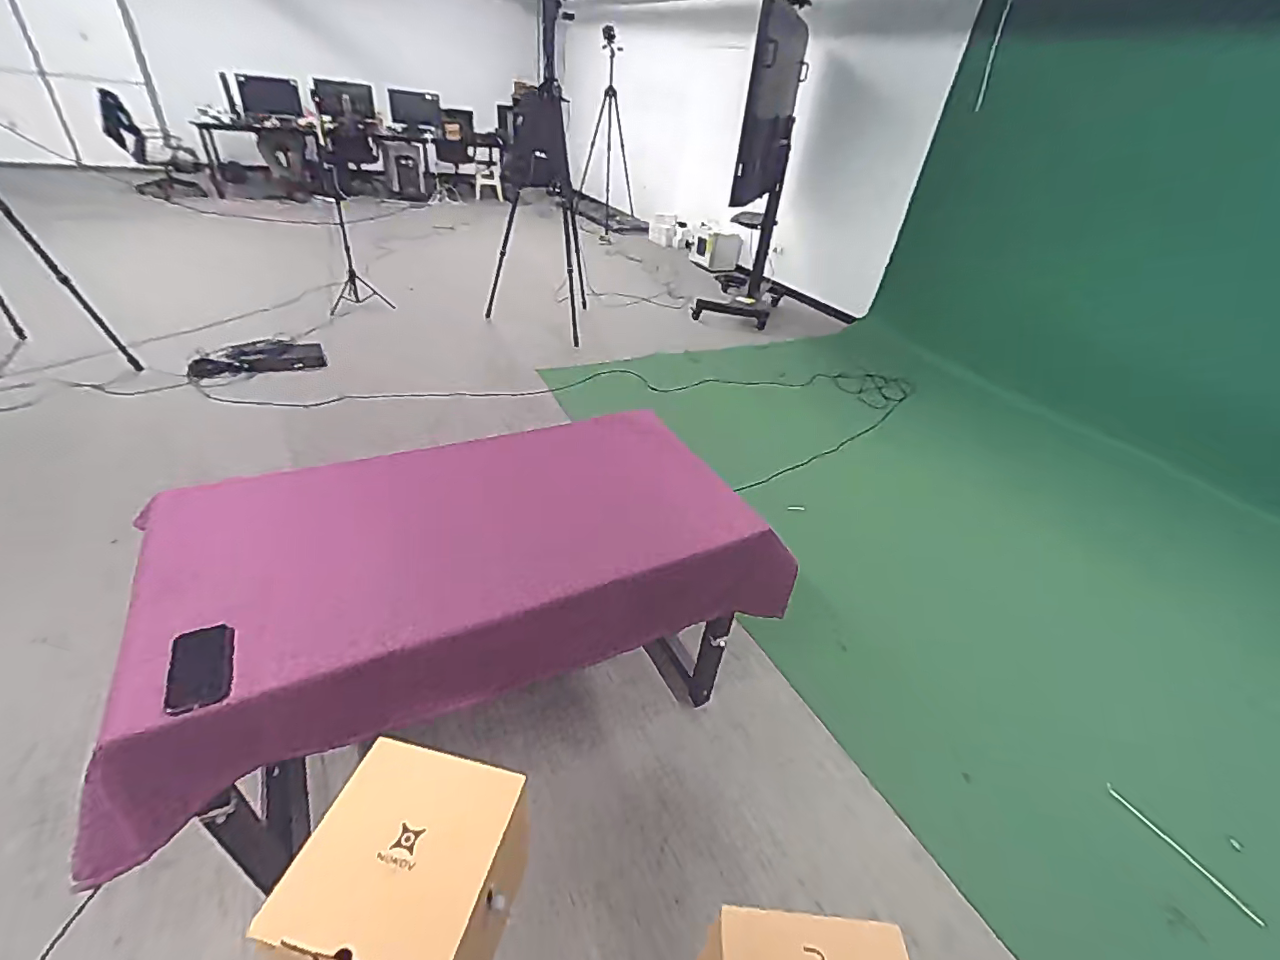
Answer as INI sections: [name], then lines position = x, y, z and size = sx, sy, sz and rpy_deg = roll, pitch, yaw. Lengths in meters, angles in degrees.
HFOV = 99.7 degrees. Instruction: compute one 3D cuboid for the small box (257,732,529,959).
[small box]
position = -0.219, 0.391, 0.529
size = 0.168, 0.176, 0.179
rpy_deg = 12, 32, 7
